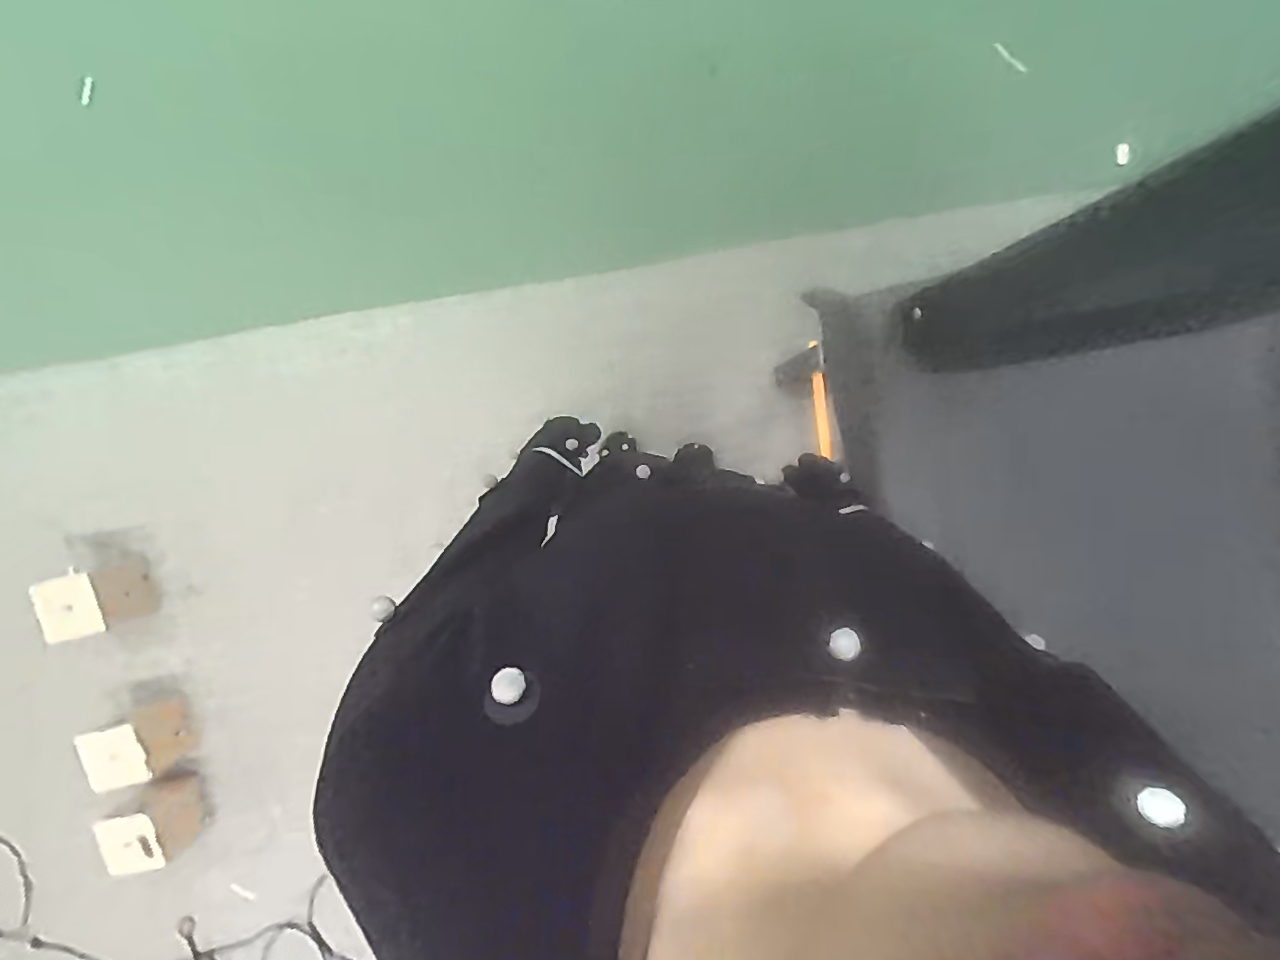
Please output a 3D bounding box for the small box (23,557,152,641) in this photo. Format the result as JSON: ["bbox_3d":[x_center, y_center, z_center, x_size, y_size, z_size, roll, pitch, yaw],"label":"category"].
[{"bbox_3d":[-1.514,0.323,1.499,0.179,0.176,0.168,-14,94,3],"label":"small box"}]

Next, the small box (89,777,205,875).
[{"bbox_3d":[-1.414,0.994,1.568,0.179,0.176,0.168,-11,96,4],"label":"small box"}]

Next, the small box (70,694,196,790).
[{"bbox_3d":[-1.436,0.740,1.542,0.179,0.176,0.168,-14,96,3],"label":"small box"}]
